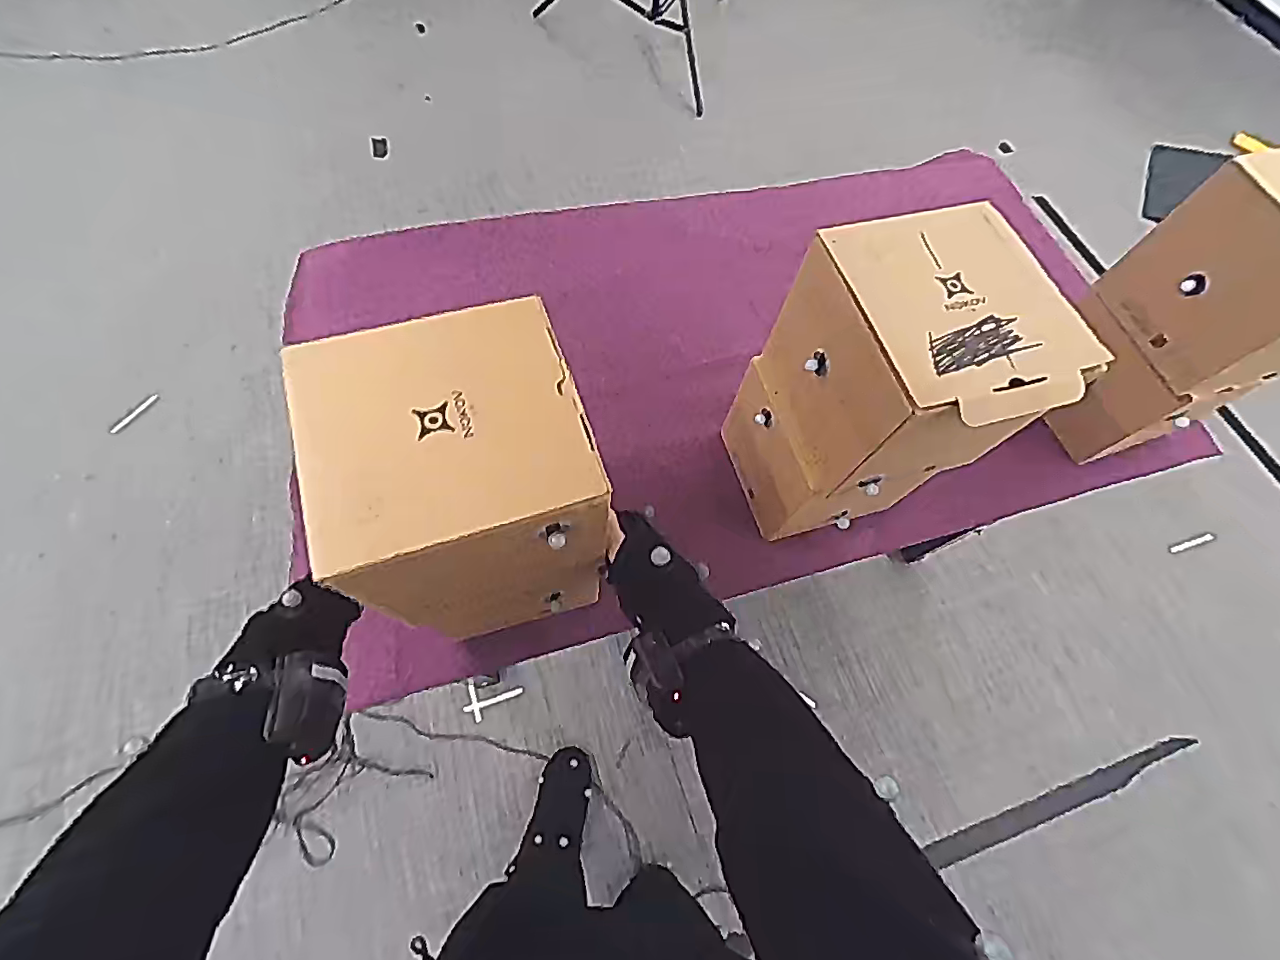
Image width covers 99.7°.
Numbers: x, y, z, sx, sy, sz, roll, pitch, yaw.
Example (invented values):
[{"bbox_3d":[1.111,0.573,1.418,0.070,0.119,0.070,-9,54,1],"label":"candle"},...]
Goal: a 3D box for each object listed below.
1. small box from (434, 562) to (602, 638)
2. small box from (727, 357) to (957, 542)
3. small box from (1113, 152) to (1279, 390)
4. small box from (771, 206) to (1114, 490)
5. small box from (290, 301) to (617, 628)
[{"bbox_3d":[-0.139,0.056,0.564,0.168,0.176,0.179,-14,67,-12],"label":"small box"},{"bbox_3d":[0.223,-0.042,0.636,0.179,0.176,0.168,-14,68,-11],"label":"small box"},{"bbox_3d":[0.656,-0.213,0.564,0.179,0.176,0.168,-13,68,-9],"label":"small box"},{"bbox_3d":[0.240,-0.104,0.483,0.168,0.176,0.179,-14,68,-10],"label":"small box"},{"bbox_3d":[-0.126,-0.001,0.412,0.179,0.176,0.168,-17,69,-13],"label":"small box"}]
